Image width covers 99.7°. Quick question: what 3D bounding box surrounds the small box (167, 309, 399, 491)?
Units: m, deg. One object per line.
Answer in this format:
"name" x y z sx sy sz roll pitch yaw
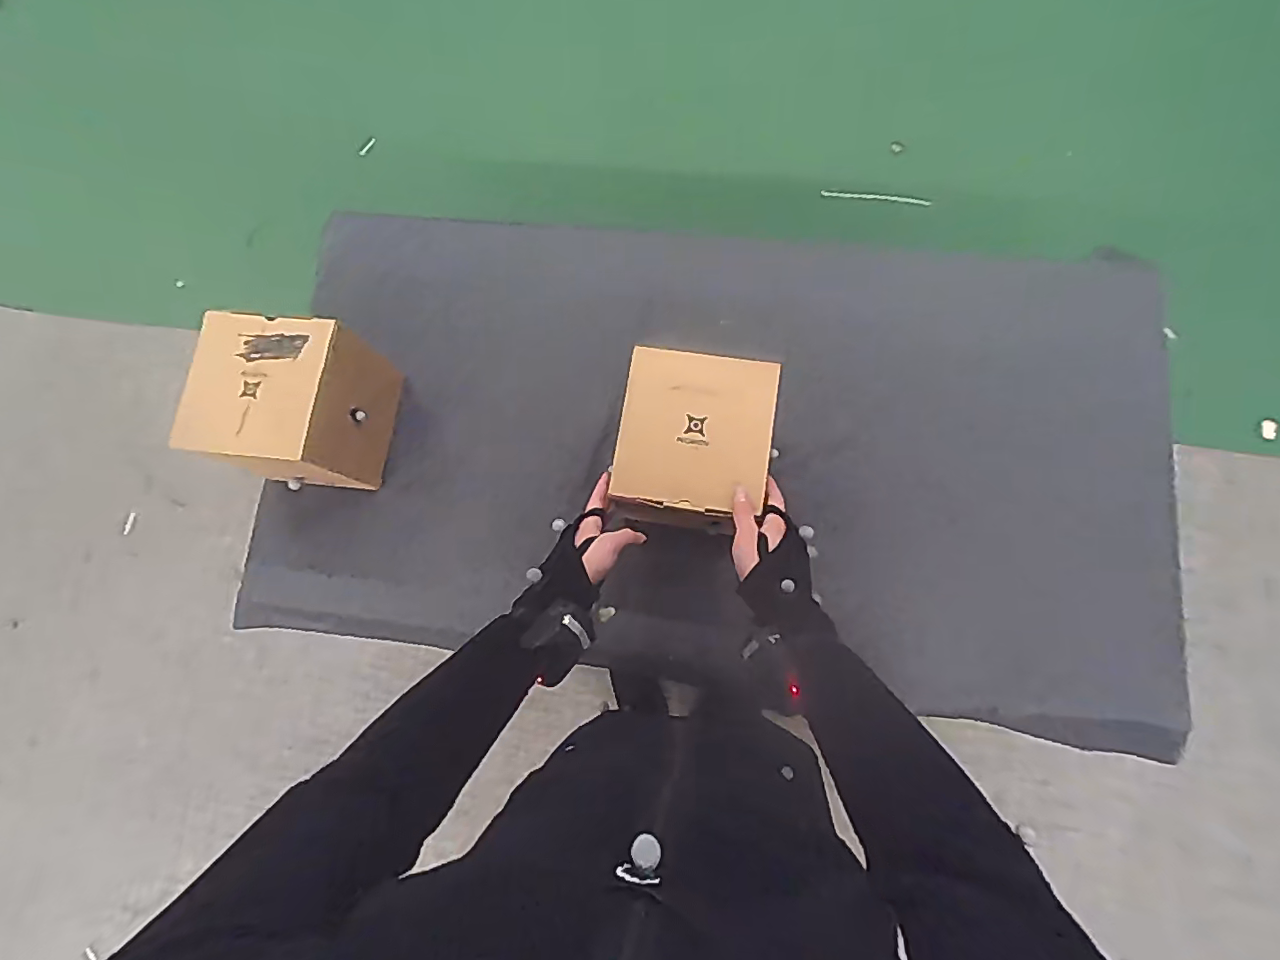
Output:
"small box" -0.437 -0.094 0.696 0.168 0.176 0.179 6 78 5

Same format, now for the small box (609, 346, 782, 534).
"small box" 0.065 -0.037 0.651 0.168 0.176 0.179 8 77 5
